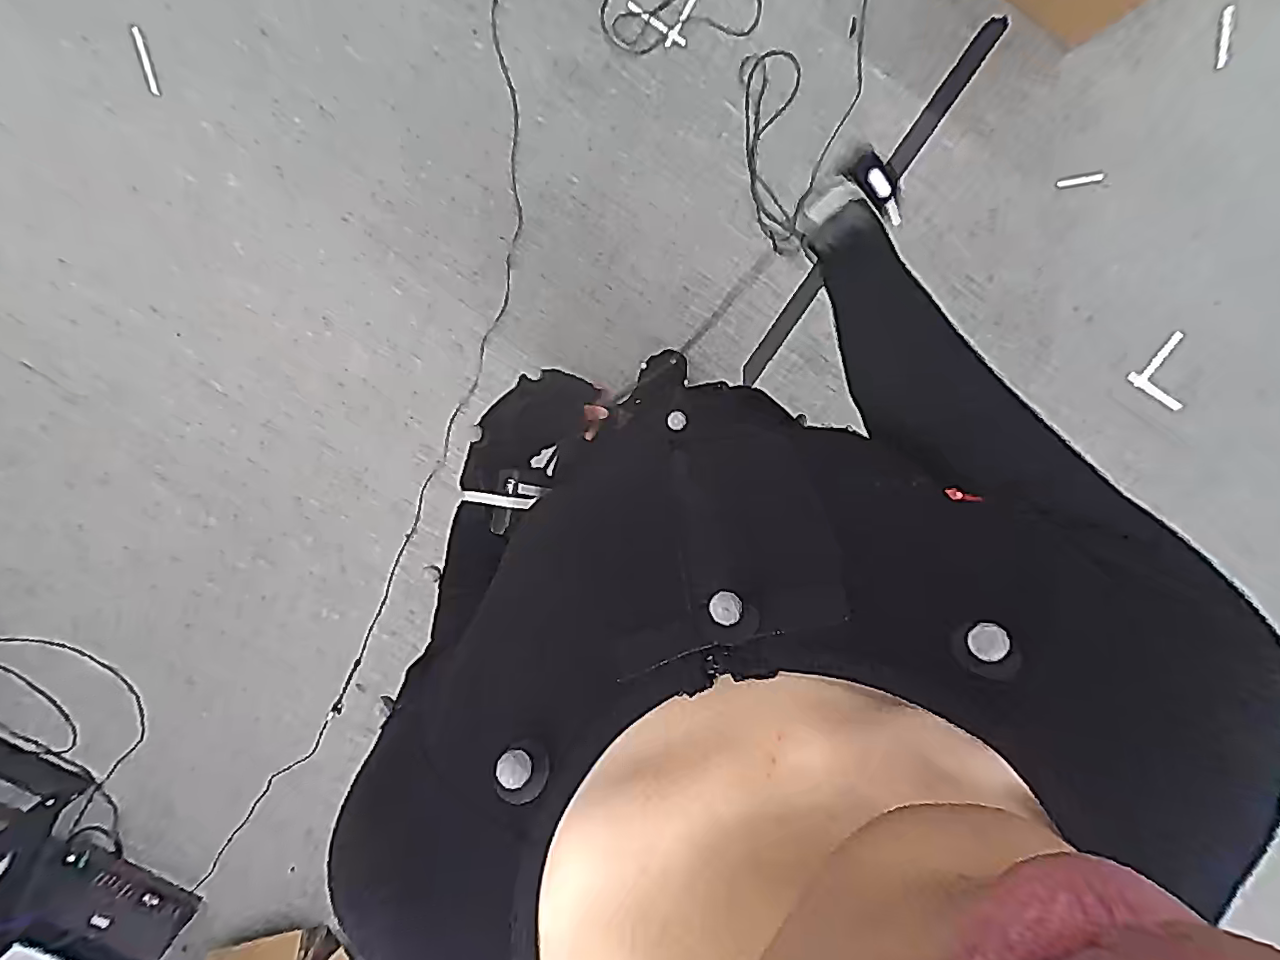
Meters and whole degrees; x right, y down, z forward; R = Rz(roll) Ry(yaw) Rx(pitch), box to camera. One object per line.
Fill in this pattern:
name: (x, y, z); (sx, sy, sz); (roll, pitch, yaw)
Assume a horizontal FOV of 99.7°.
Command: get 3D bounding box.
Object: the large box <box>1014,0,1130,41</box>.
large box: (0.889, -1.184, 1.041); (0.408, 0.320, 0.320); (33, 103, -7)
